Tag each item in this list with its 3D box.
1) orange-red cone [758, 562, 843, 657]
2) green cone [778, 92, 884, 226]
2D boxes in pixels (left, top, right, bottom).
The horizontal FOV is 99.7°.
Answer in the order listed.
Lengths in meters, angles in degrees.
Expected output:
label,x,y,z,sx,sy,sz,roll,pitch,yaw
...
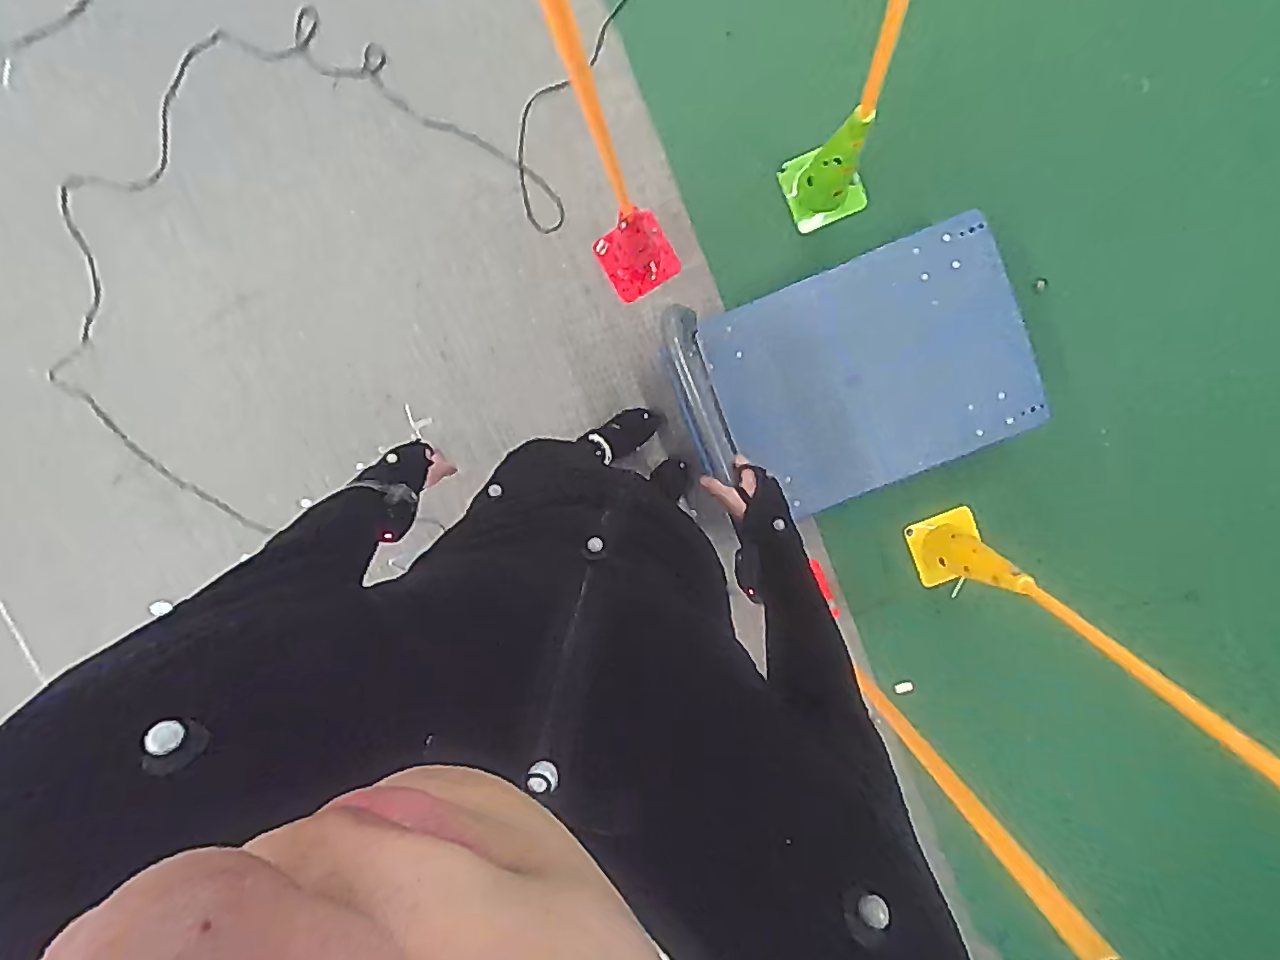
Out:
label,x,y,z,sx,sy,sz,roll,pitch,yaw
orange-red cone,0.466,0.378,1.447,0.199,0.360,0.198,-22,96,3
green cone,0.494,-0.803,1.308,0.202,0.368,0.200,-23,94,4
